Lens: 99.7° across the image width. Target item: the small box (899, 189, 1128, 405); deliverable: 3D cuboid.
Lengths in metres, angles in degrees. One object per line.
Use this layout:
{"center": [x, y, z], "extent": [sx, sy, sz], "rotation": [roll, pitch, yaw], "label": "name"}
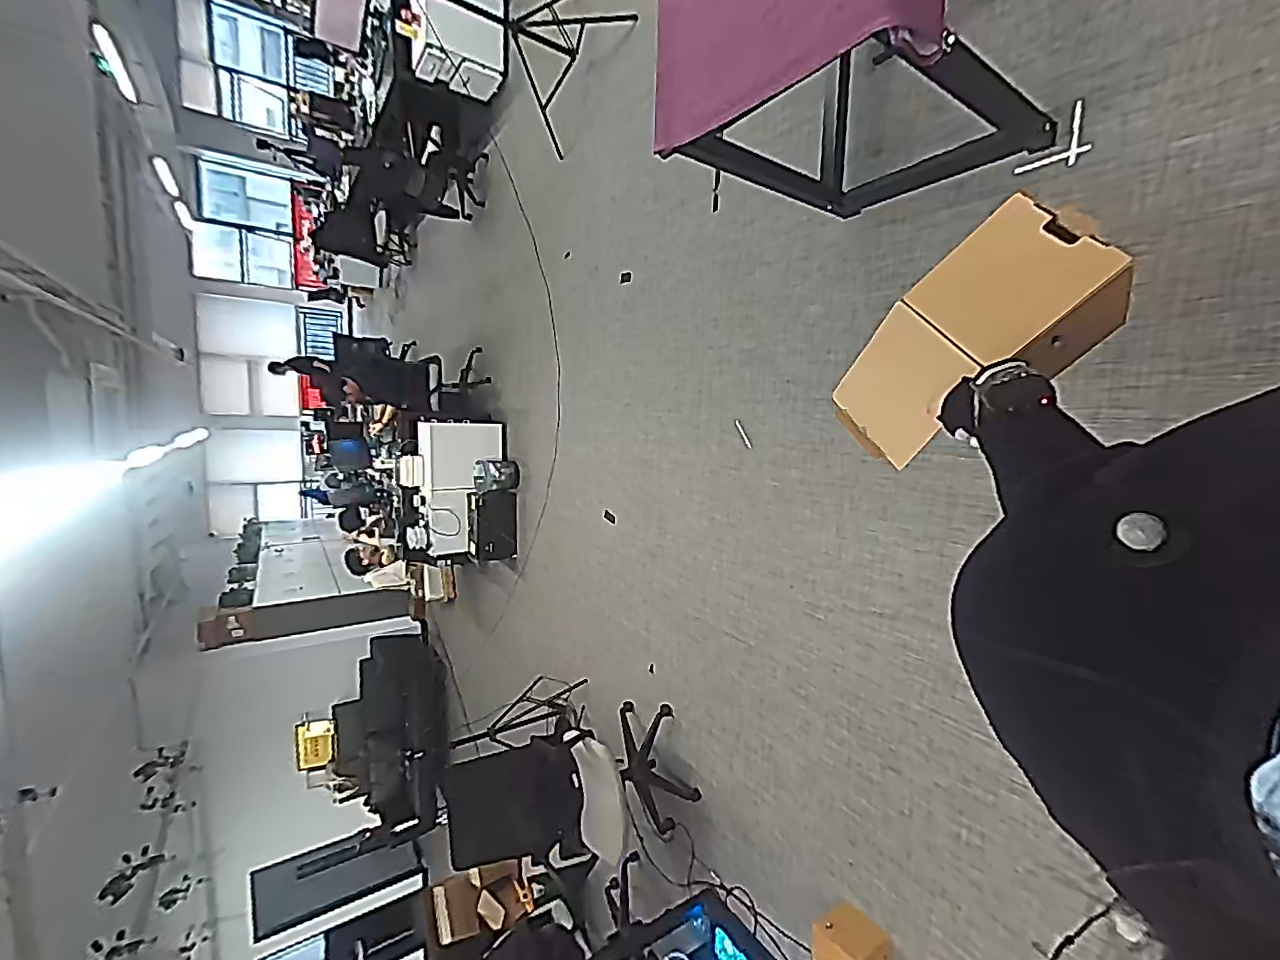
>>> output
{"center": [0.486, -0.226, 0.711], "extent": [0.179, 0.176, 0.168], "rotation": [-44, 55, 22], "label": "small box"}
